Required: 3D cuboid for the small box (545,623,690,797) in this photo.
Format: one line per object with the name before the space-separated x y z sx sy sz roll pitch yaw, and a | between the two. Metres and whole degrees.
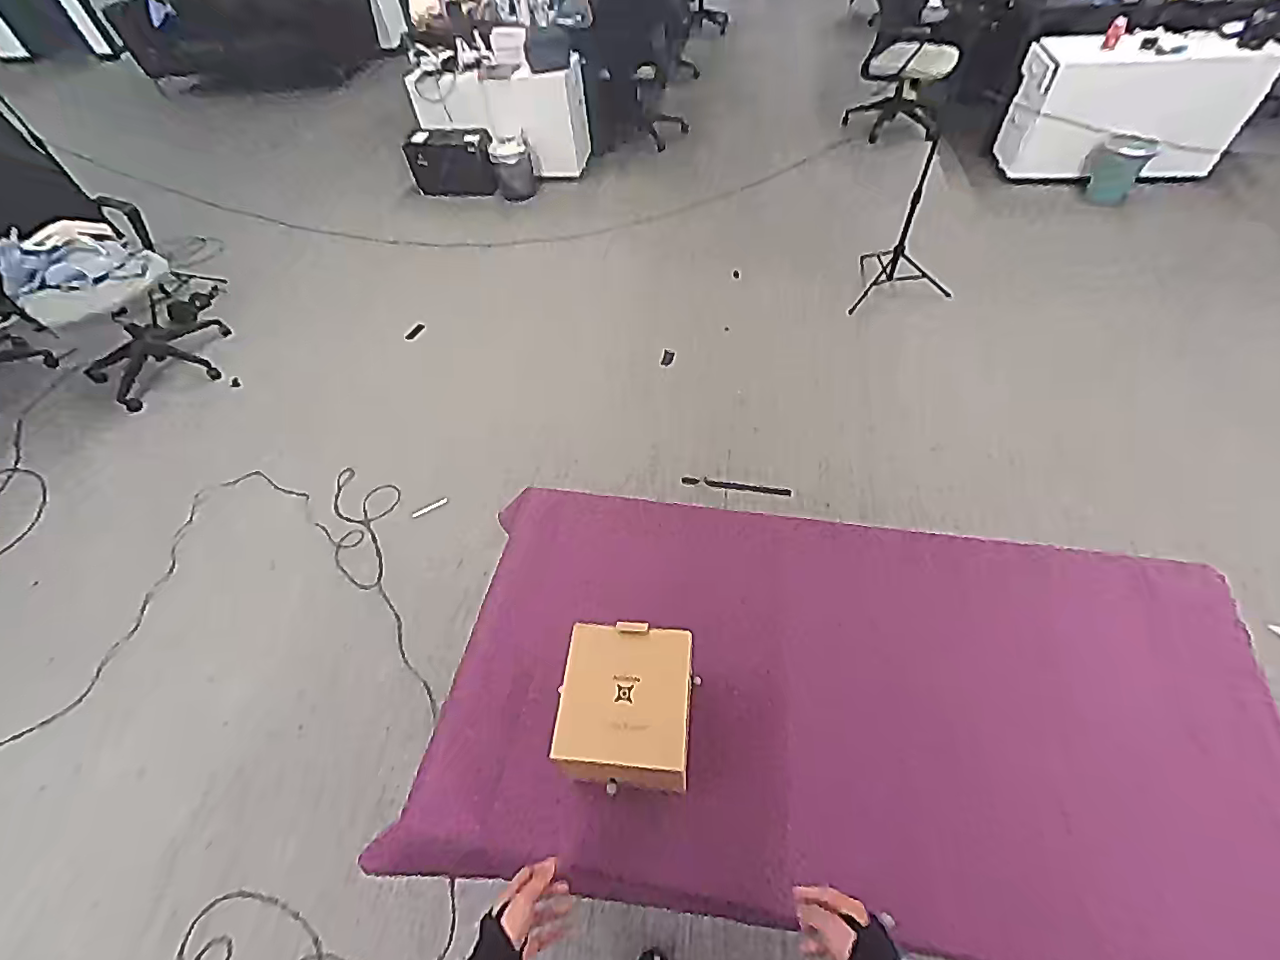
small box | -0.019 0.320 0.750 0.168 0.176 0.179 3 53 8
